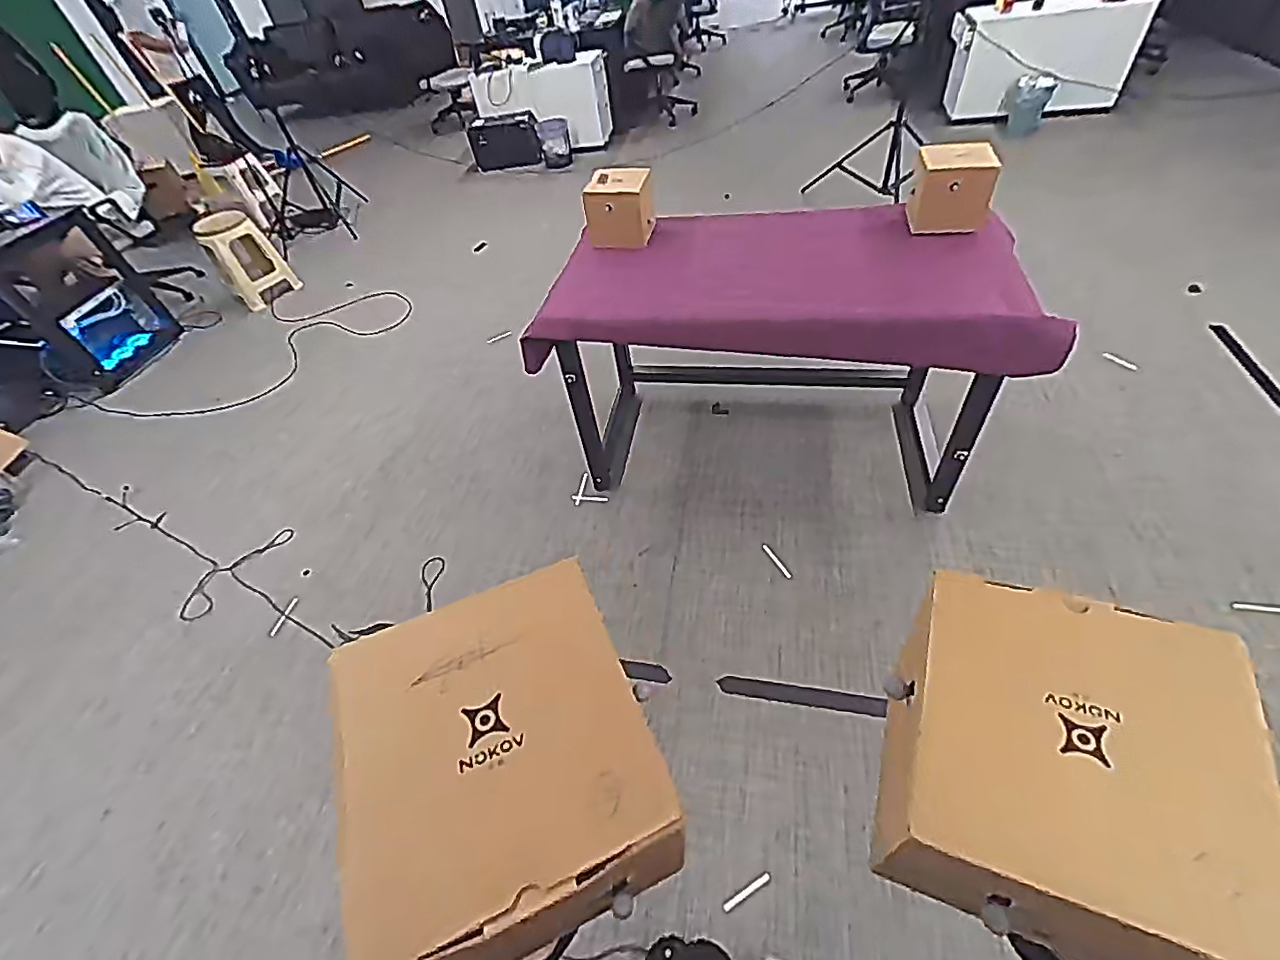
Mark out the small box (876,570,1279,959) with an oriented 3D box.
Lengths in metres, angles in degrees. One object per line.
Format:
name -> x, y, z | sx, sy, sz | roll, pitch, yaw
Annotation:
small box -> 0.264, 0.193, 0.365 | 0.168, 0.176, 0.179 | 11, 52, 22

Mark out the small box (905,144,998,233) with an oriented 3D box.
small box -> 0.840, -0.795, 1.481 | 0.179, 0.176, 0.168 | 5, 50, 12

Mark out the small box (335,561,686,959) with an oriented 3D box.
small box -> -0.078, 0.193, 0.363 | 0.168, 0.176, 0.179 | -20, 49, -15

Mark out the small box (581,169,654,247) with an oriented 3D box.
small box -> -0.063, -0.836, 1.667 | 0.179, 0.176, 0.168 | 7, 52, 13
